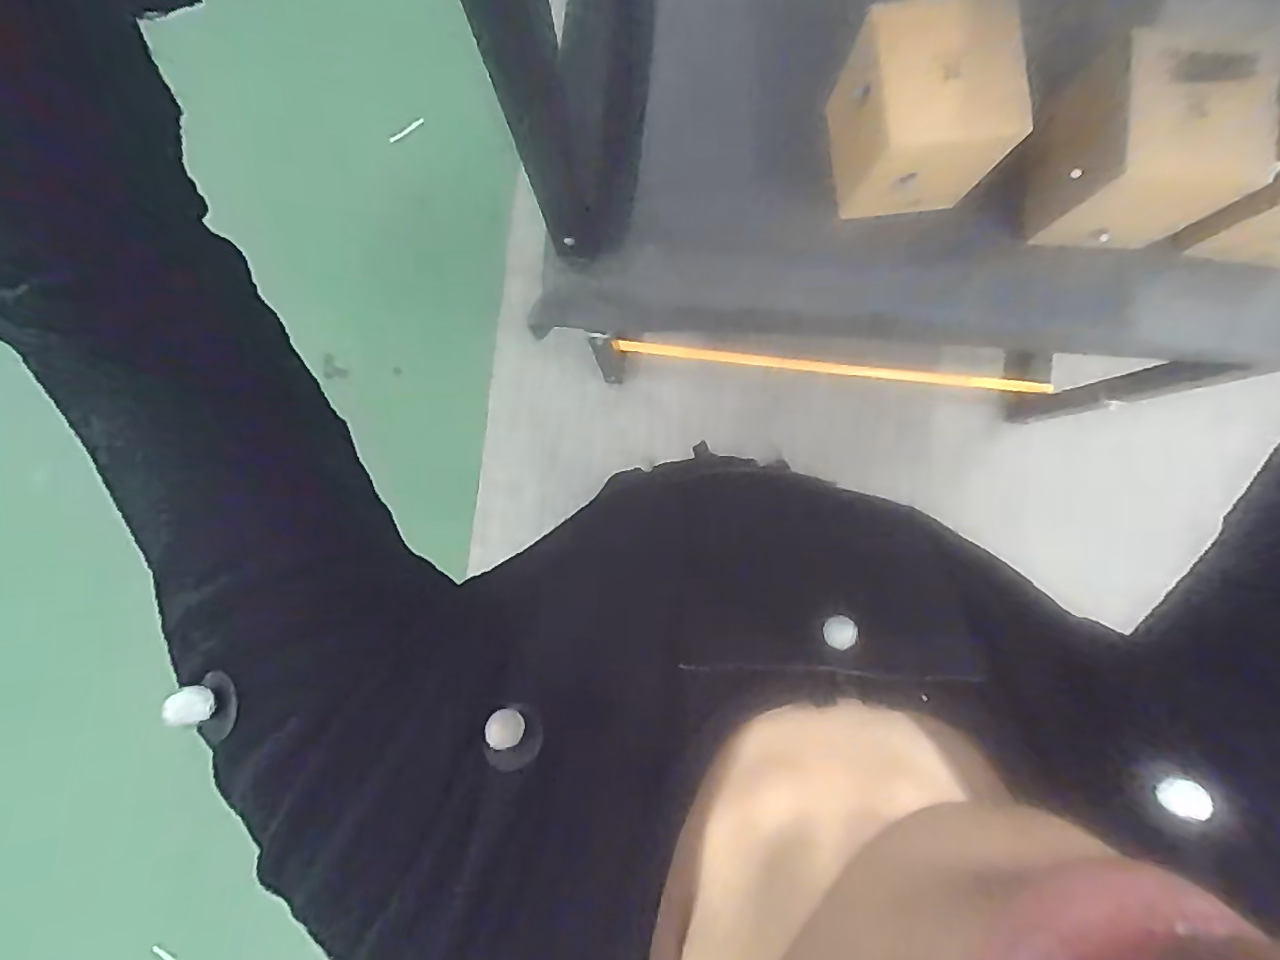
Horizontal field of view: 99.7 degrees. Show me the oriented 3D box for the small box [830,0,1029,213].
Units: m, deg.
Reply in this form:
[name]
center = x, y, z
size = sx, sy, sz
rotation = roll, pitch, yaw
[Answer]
[small box]
center = 0.360, -0.470, 0.703
size = 0.168, 0.176, 0.179
rotation = -5, 87, 1
